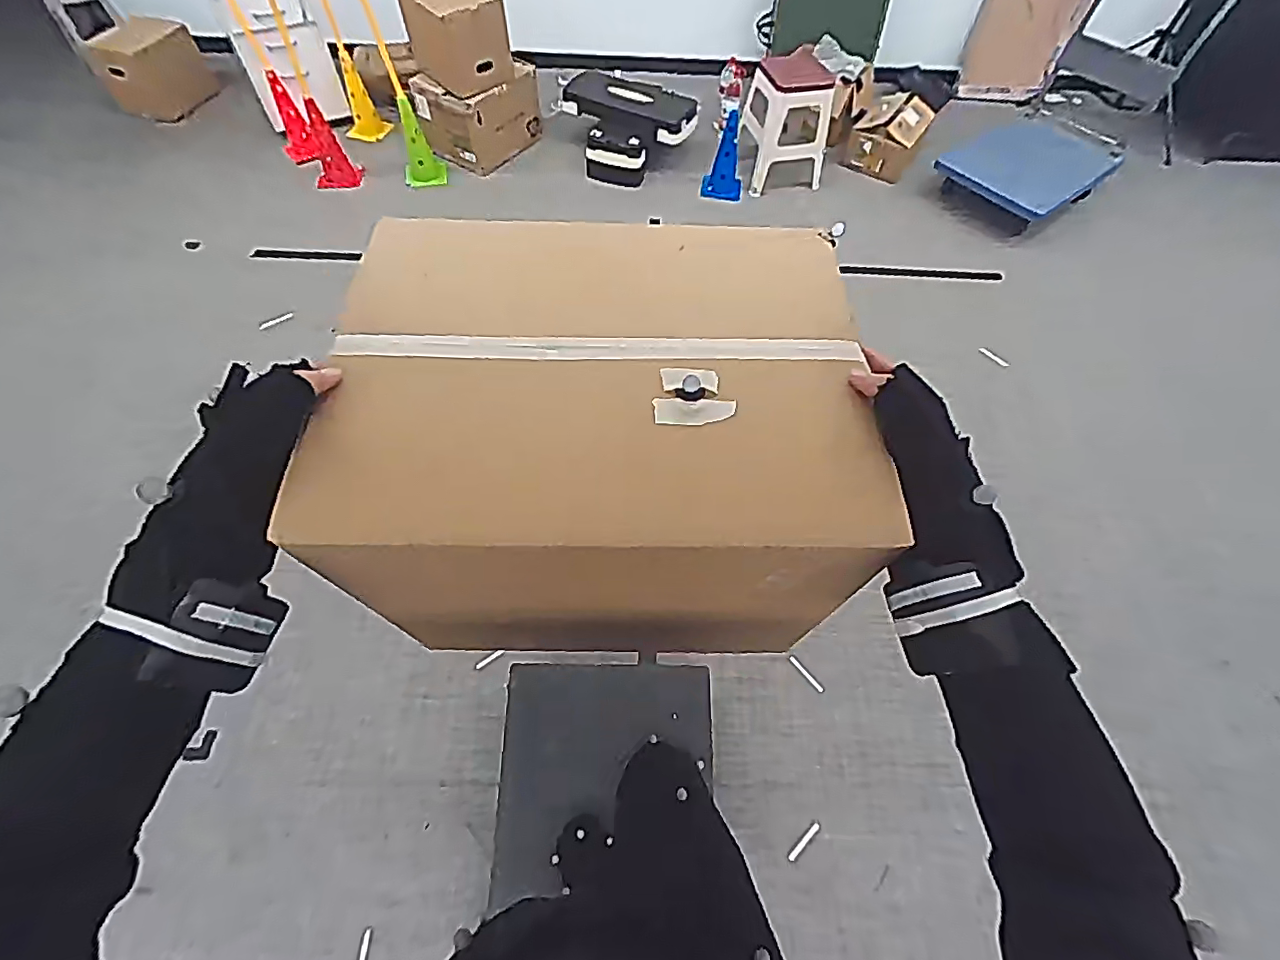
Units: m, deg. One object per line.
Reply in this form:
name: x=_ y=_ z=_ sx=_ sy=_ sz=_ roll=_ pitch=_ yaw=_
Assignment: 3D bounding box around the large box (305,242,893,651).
large box: x=-0.032 y=-0.014 z=0.562 sx=0.408 sy=0.320 sz=0.320 roll=1 pitch=61 yaw=-2
